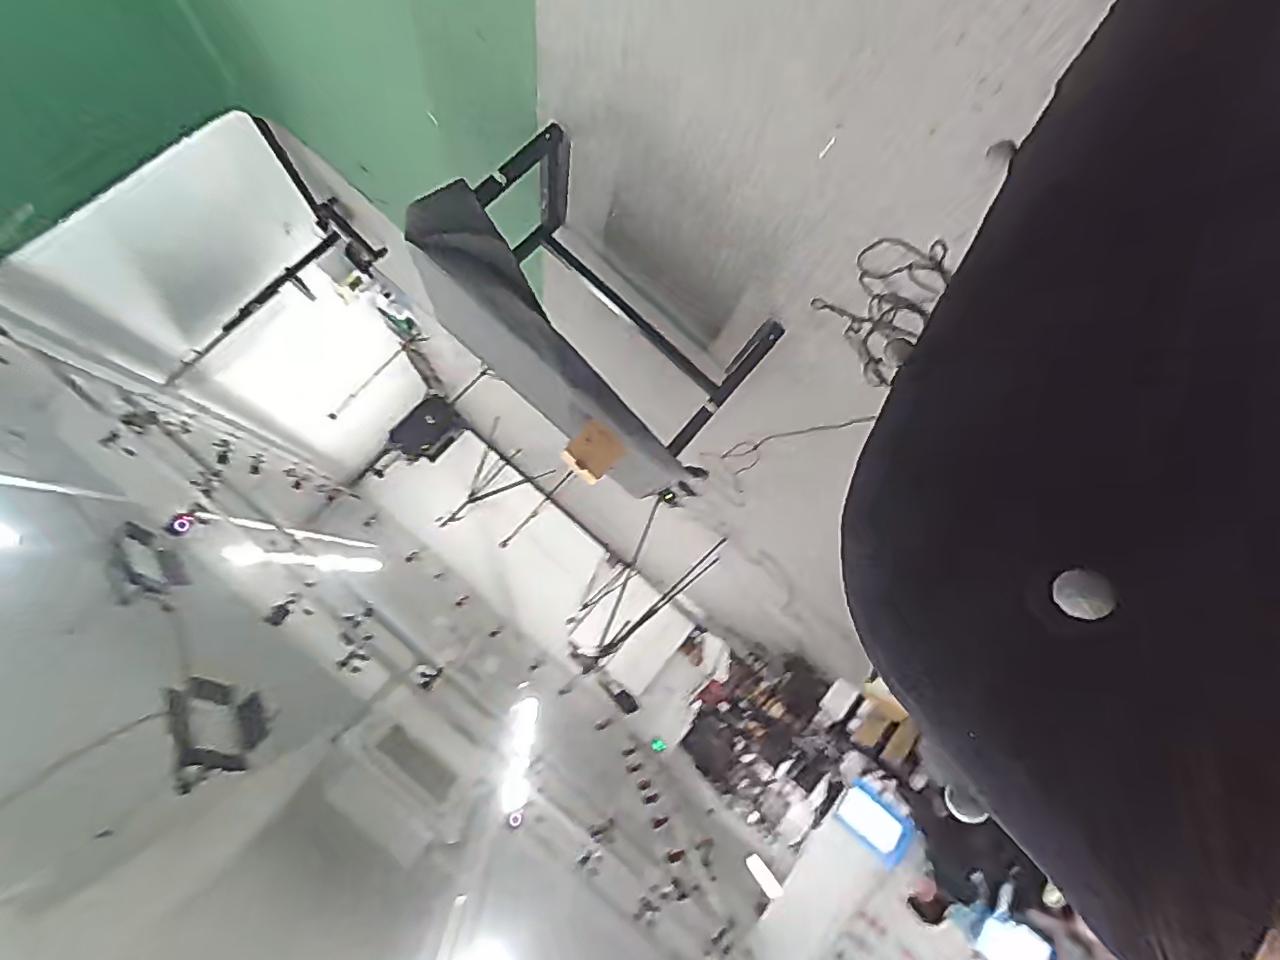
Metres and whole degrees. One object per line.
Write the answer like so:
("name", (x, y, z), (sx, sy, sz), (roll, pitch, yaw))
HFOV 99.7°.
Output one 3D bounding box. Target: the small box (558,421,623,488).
("small box", (-0.181, -0.094, 1.980), (0.168, 0.176, 0.179), (44, 167, -3))
